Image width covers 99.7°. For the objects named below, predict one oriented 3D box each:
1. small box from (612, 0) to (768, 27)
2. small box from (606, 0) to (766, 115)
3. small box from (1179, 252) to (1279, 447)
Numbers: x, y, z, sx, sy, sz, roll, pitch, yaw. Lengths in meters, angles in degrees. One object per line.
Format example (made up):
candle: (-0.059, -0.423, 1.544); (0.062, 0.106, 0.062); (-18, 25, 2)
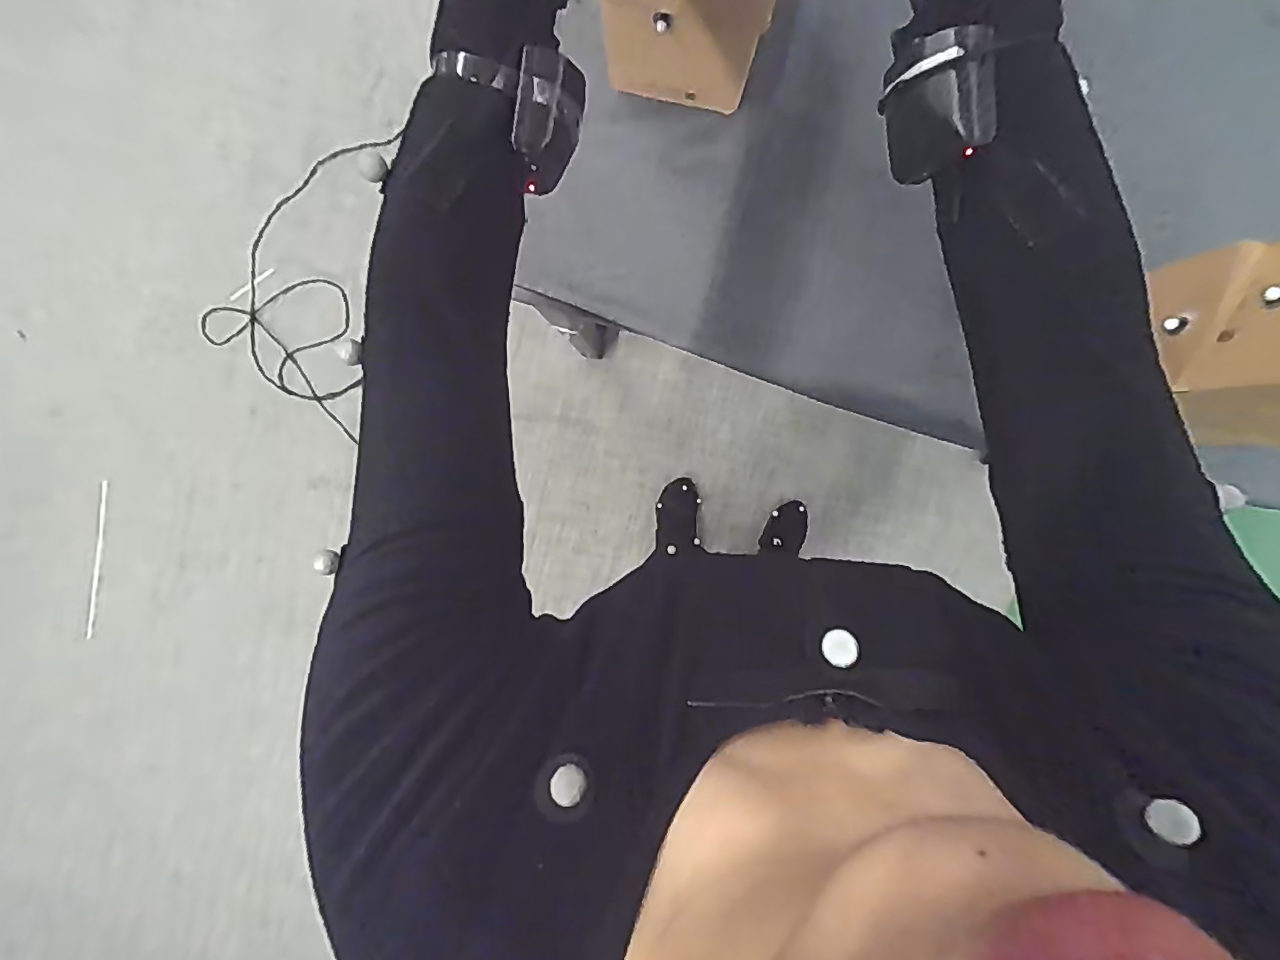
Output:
small box: (0.051, -0.521, 0.439); (0.179, 0.176, 0.168); (12, 98, 0)
small box: (0.057, -0.556, 0.601); (0.168, 0.176, 0.179); (11, 97, 0)
small box: (0.659, -0.116, 0.471); (0.179, 0.176, 0.168); (27, 95, 0)
